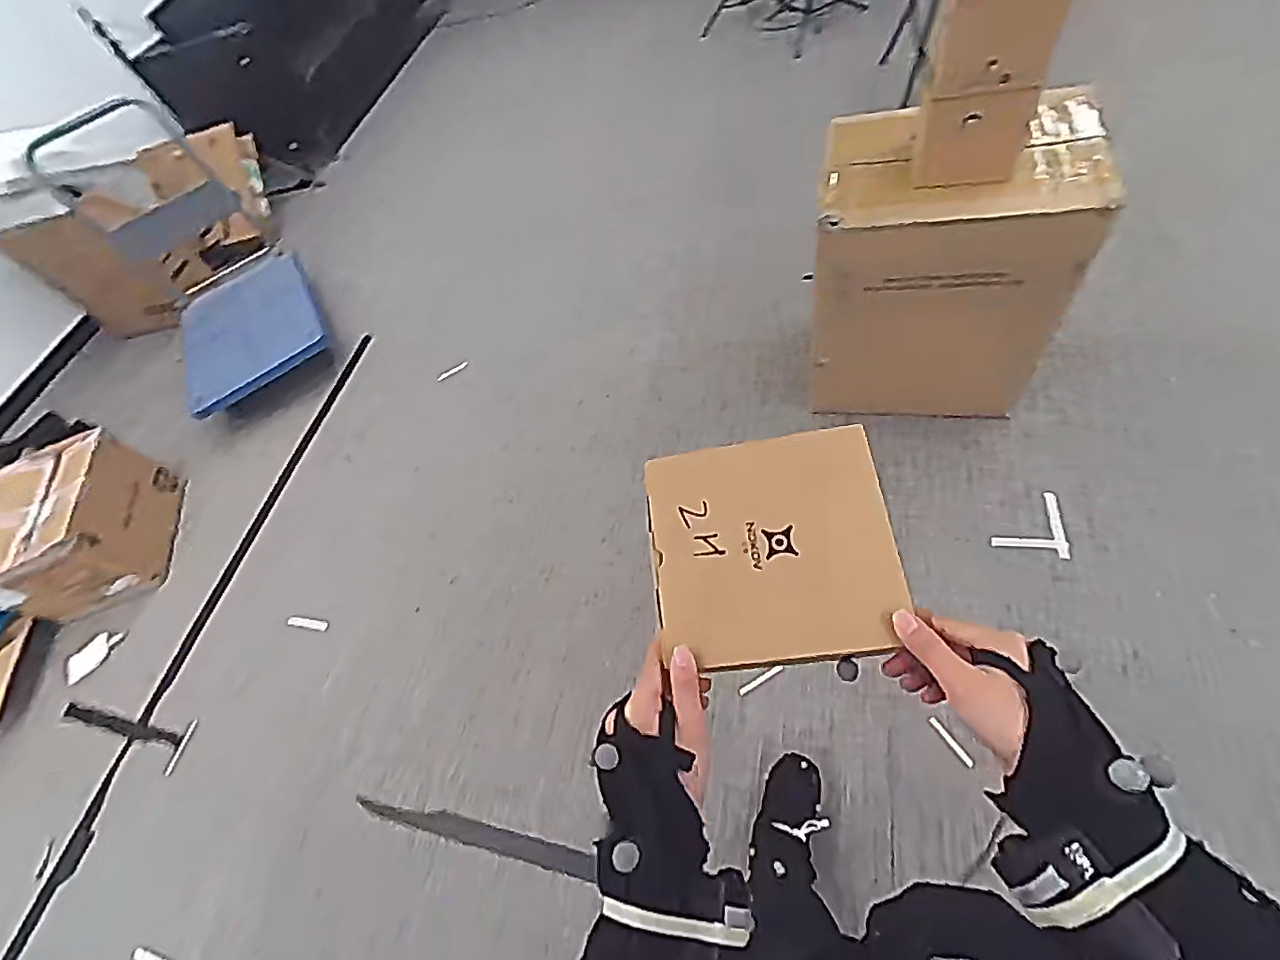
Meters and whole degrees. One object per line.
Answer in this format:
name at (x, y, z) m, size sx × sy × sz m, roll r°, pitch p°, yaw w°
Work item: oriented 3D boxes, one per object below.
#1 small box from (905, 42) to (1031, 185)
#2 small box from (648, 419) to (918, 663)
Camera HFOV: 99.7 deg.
small box at (0.619, -0.697, 1.044) m, size 0.179 × 0.176 × 0.168 m, roll 5°, pitch 61°, yaw 18°
small box at (0.112, 0.067, 0.475) m, size 0.179 × 0.176 × 0.168 m, roll -9°, pitch 68°, yaw 10°
